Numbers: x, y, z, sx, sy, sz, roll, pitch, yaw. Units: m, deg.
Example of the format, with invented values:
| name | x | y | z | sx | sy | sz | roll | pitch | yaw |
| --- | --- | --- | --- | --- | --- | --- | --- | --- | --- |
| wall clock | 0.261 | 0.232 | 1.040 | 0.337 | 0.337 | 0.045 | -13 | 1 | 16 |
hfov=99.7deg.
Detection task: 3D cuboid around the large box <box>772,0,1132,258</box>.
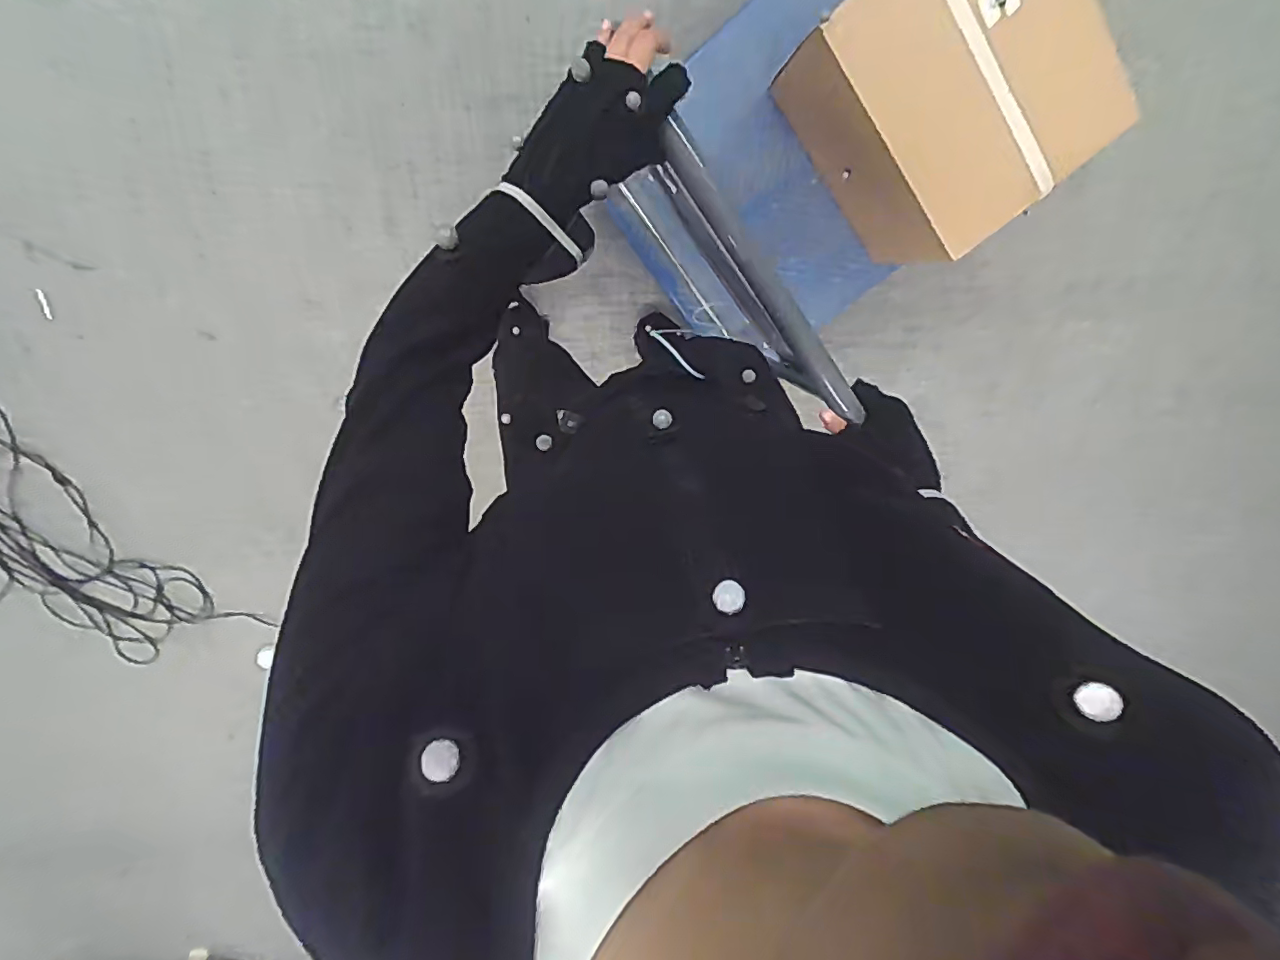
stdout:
| name | x | y | z | sx | sy | sz | roll | pitch | yaw |
| --- | --- | --- | --- | --- | --- | --- | --- | --- | --- |
| large box | 0.492 | -0.644 | 0.924 | 0.320 | 0.320 | 0.408 | -38 | 107 | 13 |
